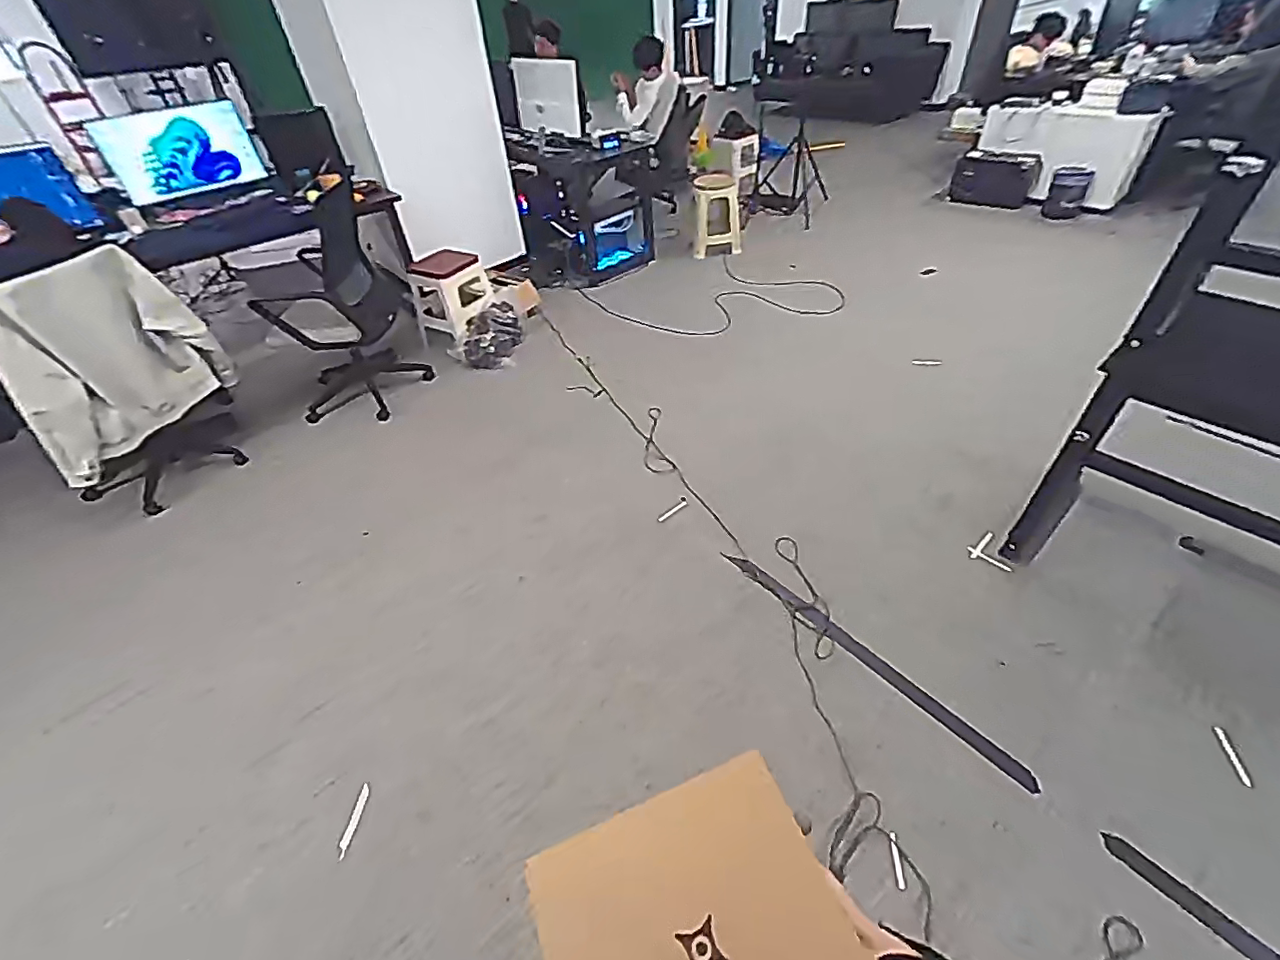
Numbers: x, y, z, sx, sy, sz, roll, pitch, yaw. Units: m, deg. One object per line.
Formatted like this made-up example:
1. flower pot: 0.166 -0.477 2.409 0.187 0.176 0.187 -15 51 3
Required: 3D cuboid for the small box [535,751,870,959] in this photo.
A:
1. small box: 0.045 0.319 0.352 0.168 0.176 0.179 -19 47 -11
